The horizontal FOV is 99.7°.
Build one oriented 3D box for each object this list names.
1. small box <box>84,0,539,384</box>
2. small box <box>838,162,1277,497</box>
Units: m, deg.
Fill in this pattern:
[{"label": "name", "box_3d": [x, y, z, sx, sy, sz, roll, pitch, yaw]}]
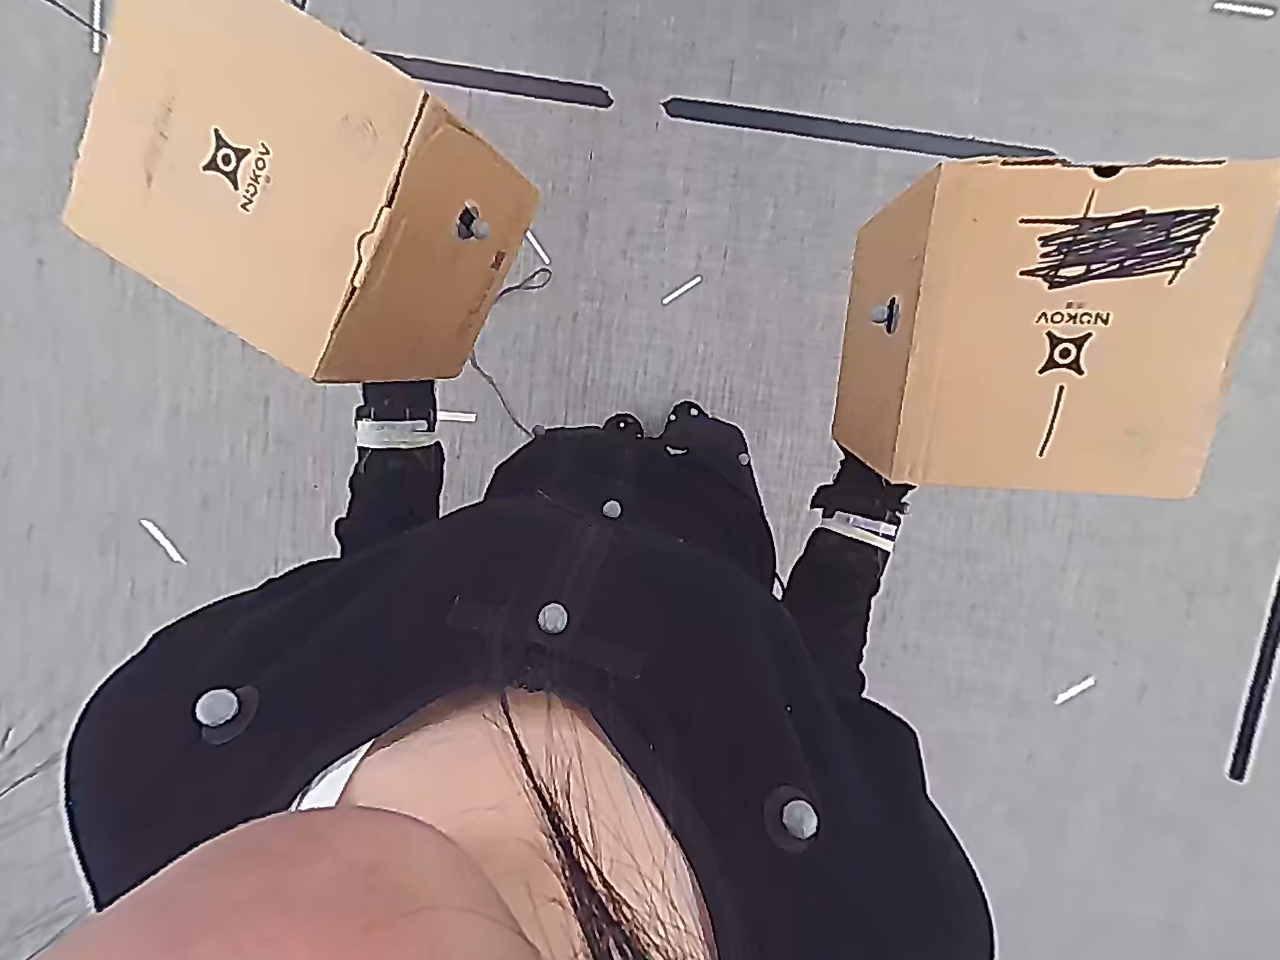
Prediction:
[{"label": "small box", "box_3d": [-0.195, -0.182, 0.367, 0.179, 0.176, 0.168, 31, 104, 2]}, {"label": "small box", "box_3d": [0.247, -0.098, 0.377, 0.168, 0.176, 0.179, 4, 104, 7]}]
